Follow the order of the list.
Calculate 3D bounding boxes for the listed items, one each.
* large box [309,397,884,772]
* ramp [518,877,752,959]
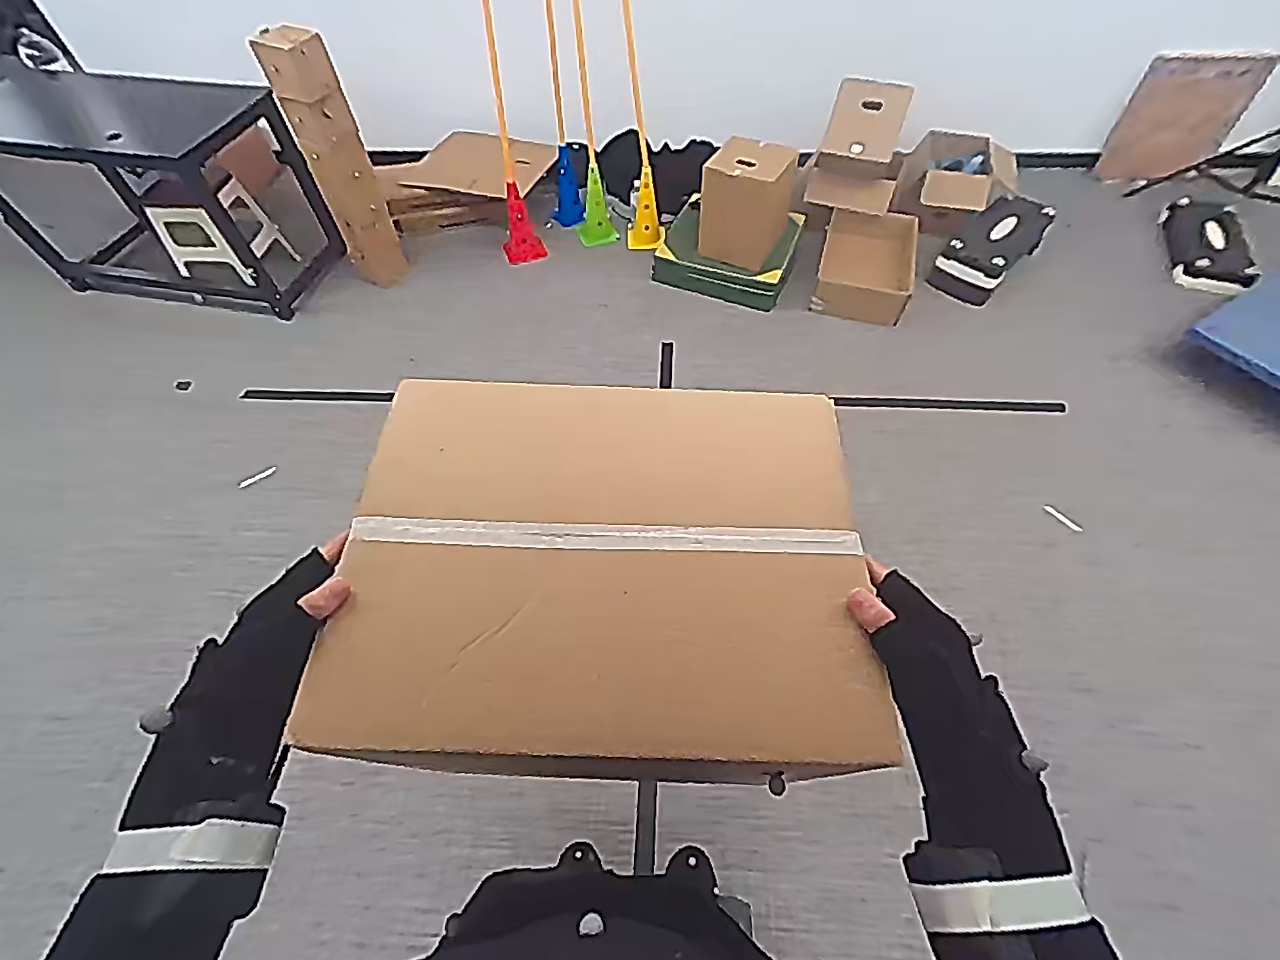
[{"bbox_3d":[-0.028,0.131,0.572,0.408,0.320,0.320,2,59,0],"label":"large box"},{"bbox_3d":[-0.025,1.334,0.977,0.509,0.206,0.991,1,56,0],"label":"ramp"}]
